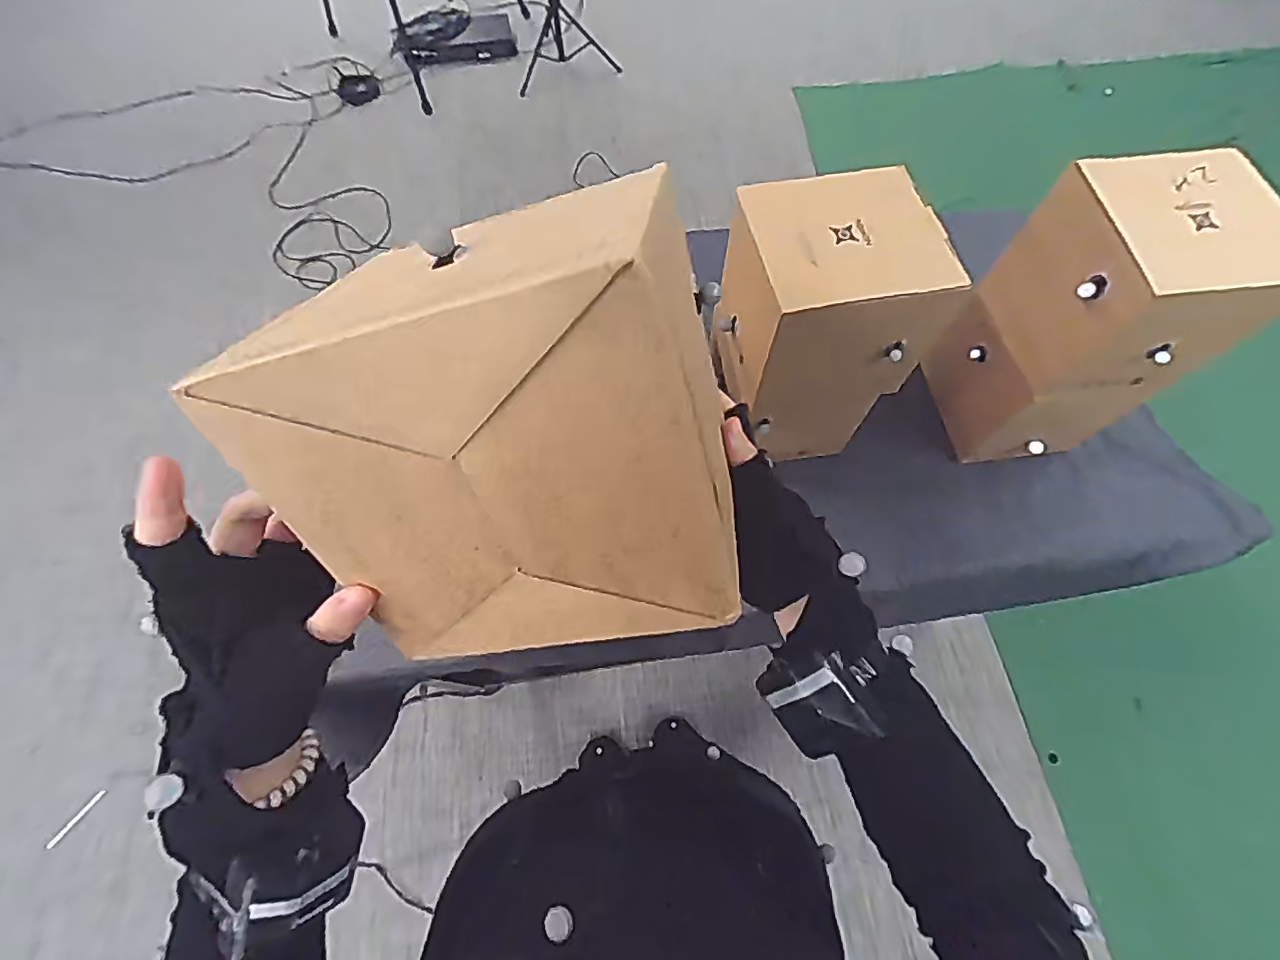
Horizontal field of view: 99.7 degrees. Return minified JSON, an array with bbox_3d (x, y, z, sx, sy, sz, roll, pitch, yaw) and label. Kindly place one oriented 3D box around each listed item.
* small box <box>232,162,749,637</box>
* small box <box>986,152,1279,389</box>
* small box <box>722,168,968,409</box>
[{"bbox_3d":[-0.047,-0.037,0.282,0.179,0.168,0.176,-10,38,14],"label":"small box"},{"bbox_3d":[0.518,-0.210,0.579,0.168,0.176,0.179,-5,66,-1],"label":"small box"},{"bbox_3d":[0.197,-0.195,0.580,0.179,0.176,0.168,-9,65,-2],"label":"small box"}]
